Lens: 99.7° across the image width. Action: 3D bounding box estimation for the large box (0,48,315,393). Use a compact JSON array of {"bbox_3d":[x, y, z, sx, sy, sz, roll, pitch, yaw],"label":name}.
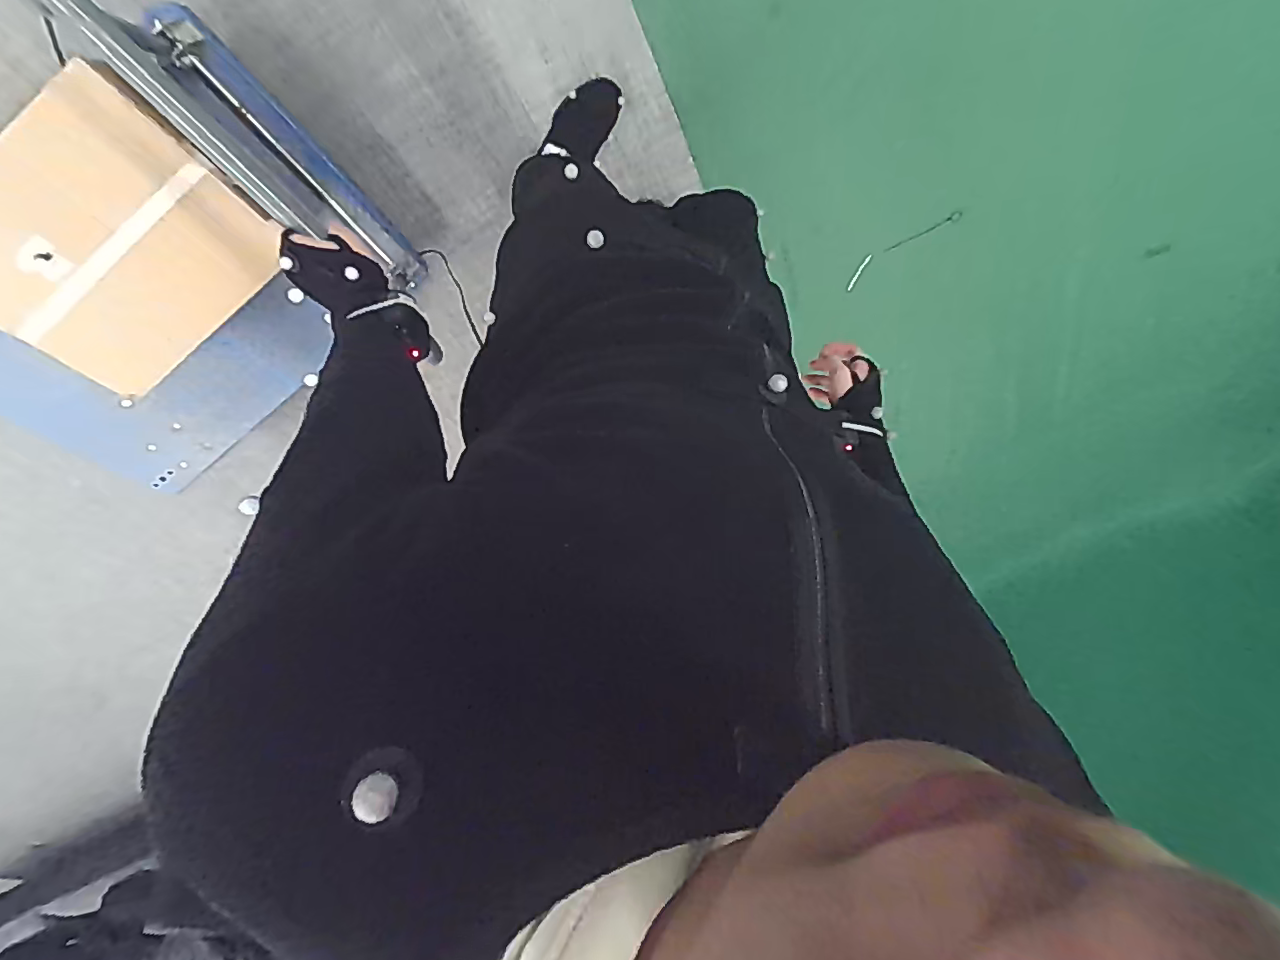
[{"bbox_3d":[-0.841,-0.439,0.925,0.408,0.320,0.320,-39,130,7],"label":"large box"}]
